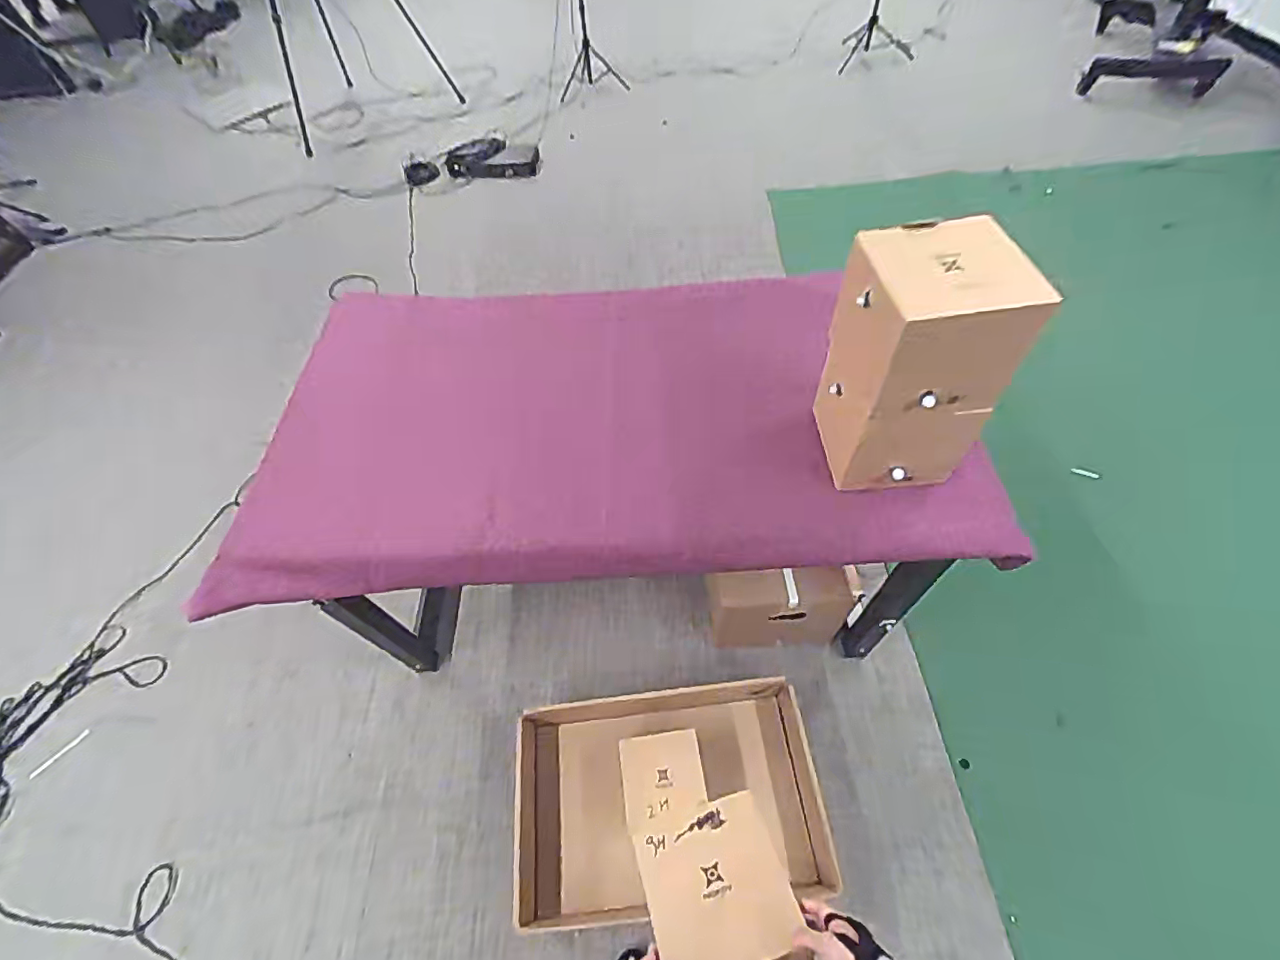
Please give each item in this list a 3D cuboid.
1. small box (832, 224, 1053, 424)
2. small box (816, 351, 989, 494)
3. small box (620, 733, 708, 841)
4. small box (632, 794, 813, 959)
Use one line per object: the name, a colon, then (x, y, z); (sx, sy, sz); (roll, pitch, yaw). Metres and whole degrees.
small box: (0.359, -0.195, 0.688); (0.168, 0.176, 0.179); (-6, 54, 2)
small box: (0.377, -0.099, 0.819); (0.168, 0.176, 0.179); (-4, 54, 3)
small box: (0.052, 0.654, 1.146); (0.168, 0.176, 0.179); (-8, 56, 0)
small box: (0.099, 0.539, 0.670); (0.168, 0.176, 0.179); (-15, 33, -7)
